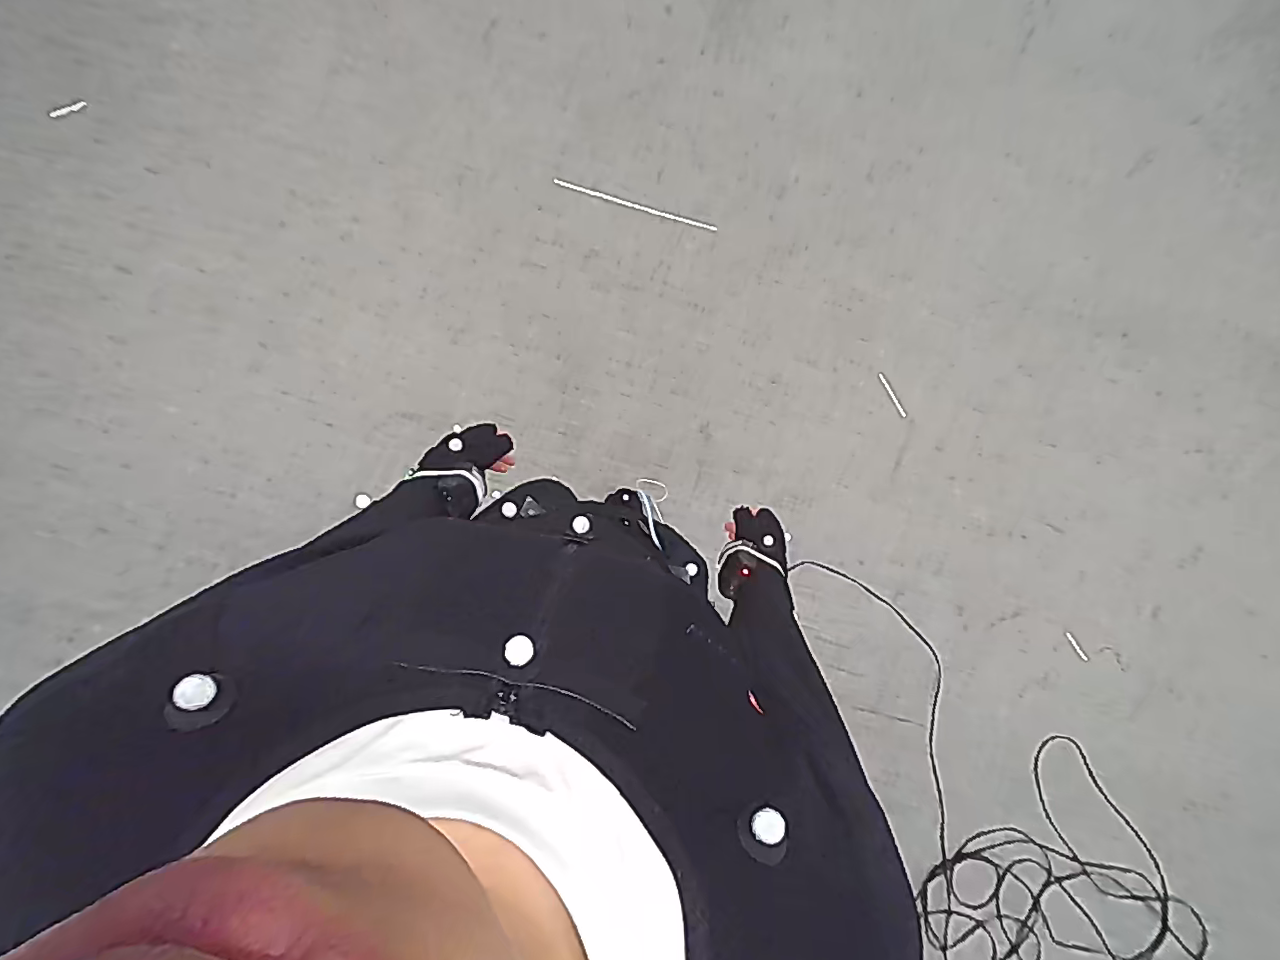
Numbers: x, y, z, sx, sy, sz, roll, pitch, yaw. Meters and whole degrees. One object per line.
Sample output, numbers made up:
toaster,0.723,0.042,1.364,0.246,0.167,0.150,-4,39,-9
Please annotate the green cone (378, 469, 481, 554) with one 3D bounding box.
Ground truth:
green cone,-0.539,0.079,1.295,0.202,0.368,0.200,15,87,-3
